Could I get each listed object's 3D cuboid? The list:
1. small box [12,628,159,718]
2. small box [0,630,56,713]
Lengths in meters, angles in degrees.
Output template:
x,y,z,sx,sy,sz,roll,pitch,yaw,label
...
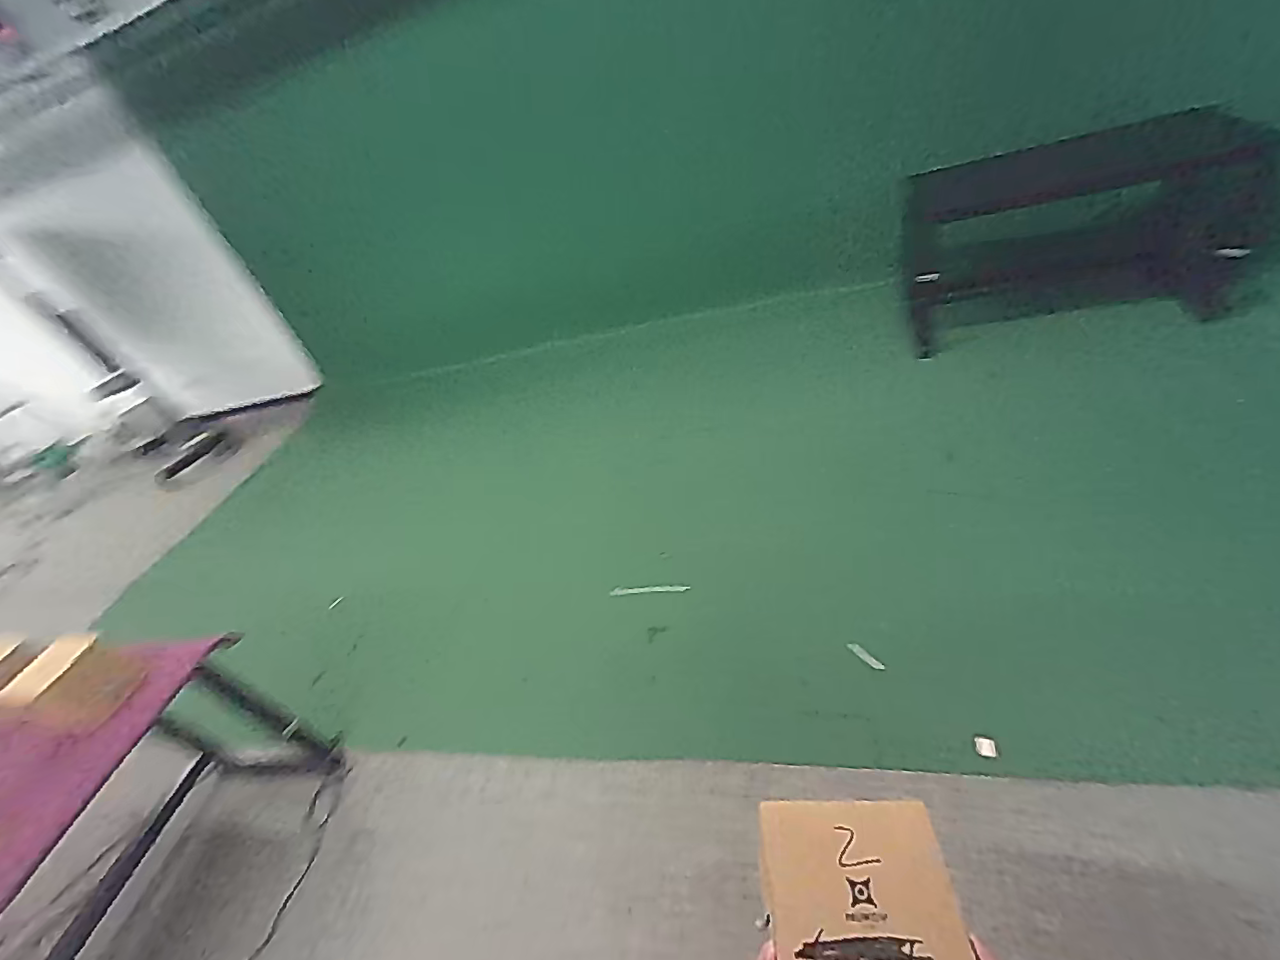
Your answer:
x,y,z,sx,sy,sz,roll,pitch,yaw,label
-1.447,0.507,1.421,0.179,0.176,0.168,-6,41,19,small box
-1.752,0.539,1.518,0.179,0.176,0.168,-5,42,16,small box
